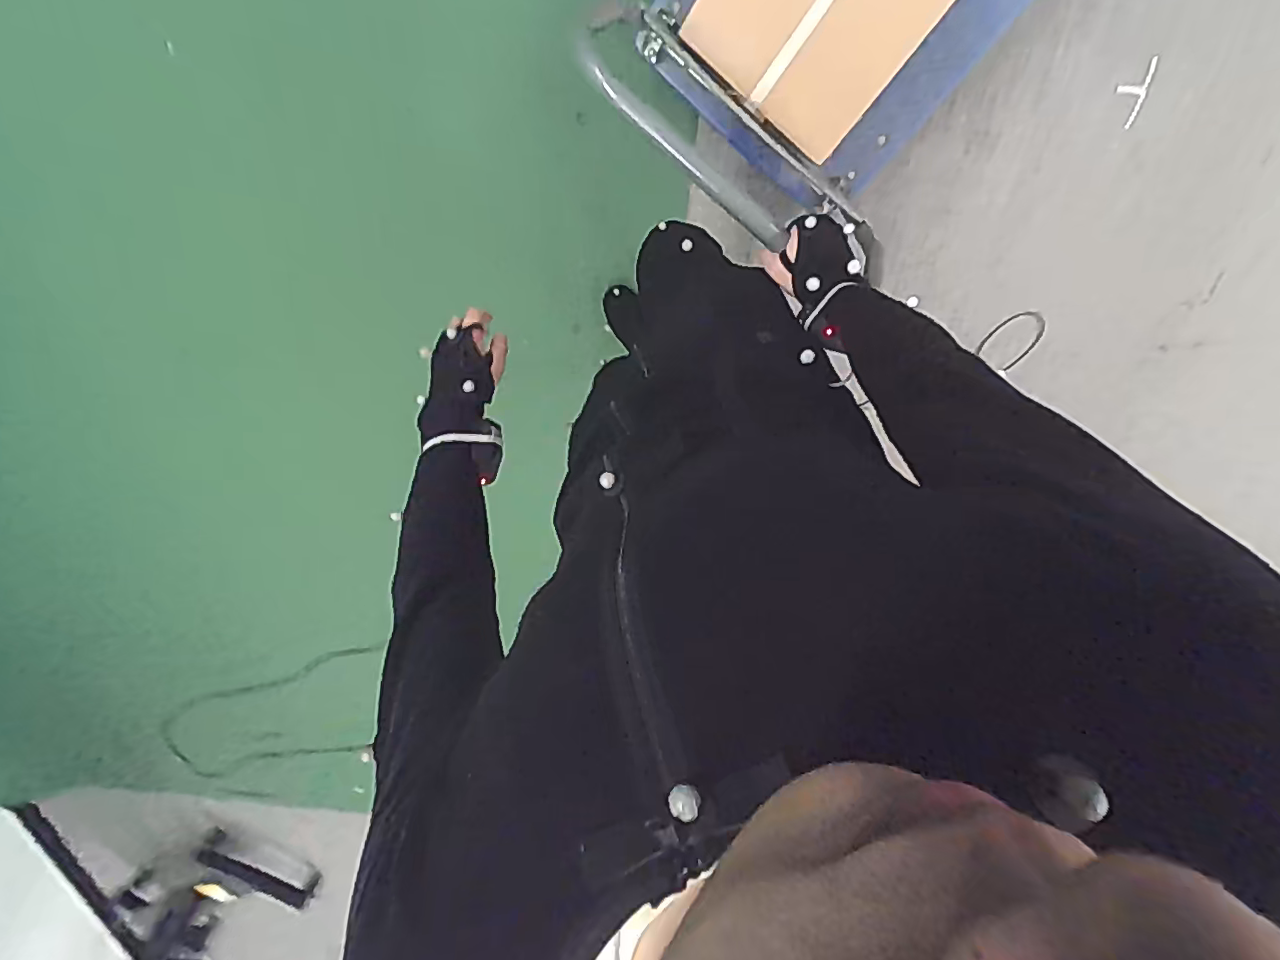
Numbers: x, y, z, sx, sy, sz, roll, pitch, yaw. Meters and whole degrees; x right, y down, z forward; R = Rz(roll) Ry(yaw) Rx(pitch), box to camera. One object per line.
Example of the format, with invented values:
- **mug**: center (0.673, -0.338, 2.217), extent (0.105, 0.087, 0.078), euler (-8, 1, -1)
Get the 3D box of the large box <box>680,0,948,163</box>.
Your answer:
- **large box**: center (0.314, -0.831, 0.923), extent (0.320, 0.320, 0.408), euler (34, 121, -14)
